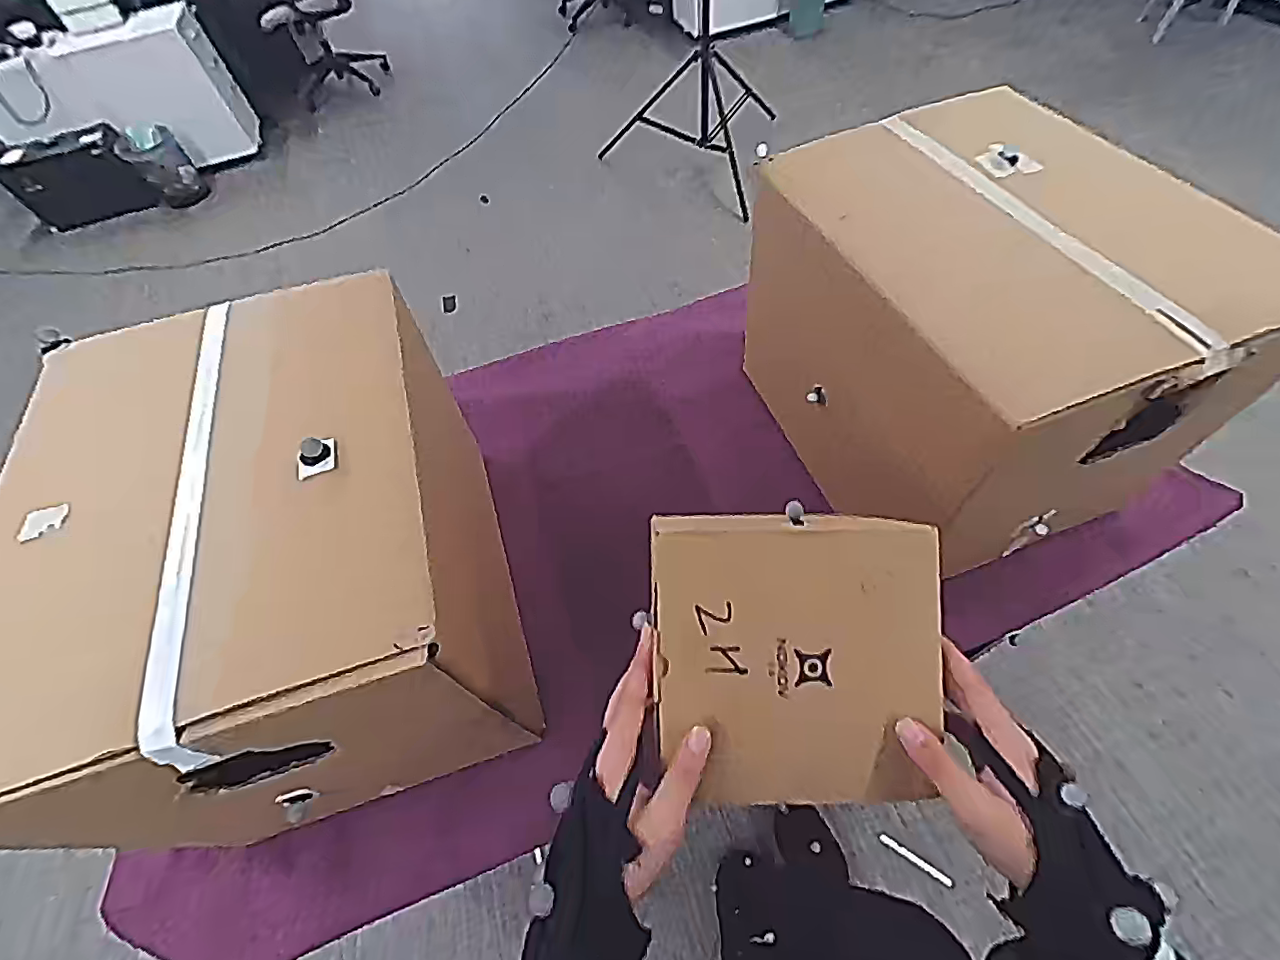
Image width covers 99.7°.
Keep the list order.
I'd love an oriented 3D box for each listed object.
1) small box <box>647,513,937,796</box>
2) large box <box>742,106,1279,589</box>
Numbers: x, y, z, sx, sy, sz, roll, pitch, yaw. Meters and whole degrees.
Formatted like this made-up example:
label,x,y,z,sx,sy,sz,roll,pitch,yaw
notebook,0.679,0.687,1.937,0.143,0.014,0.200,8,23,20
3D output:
label,x,y,z,sx,sy,sz,roll,pitch,yaw
small box,0.095,0.111,0.411,0.179,0.176,0.168,-1,89,1
large box,0.342,-0.142,0.613,0.320,0.320,0.408,-19,55,-6
